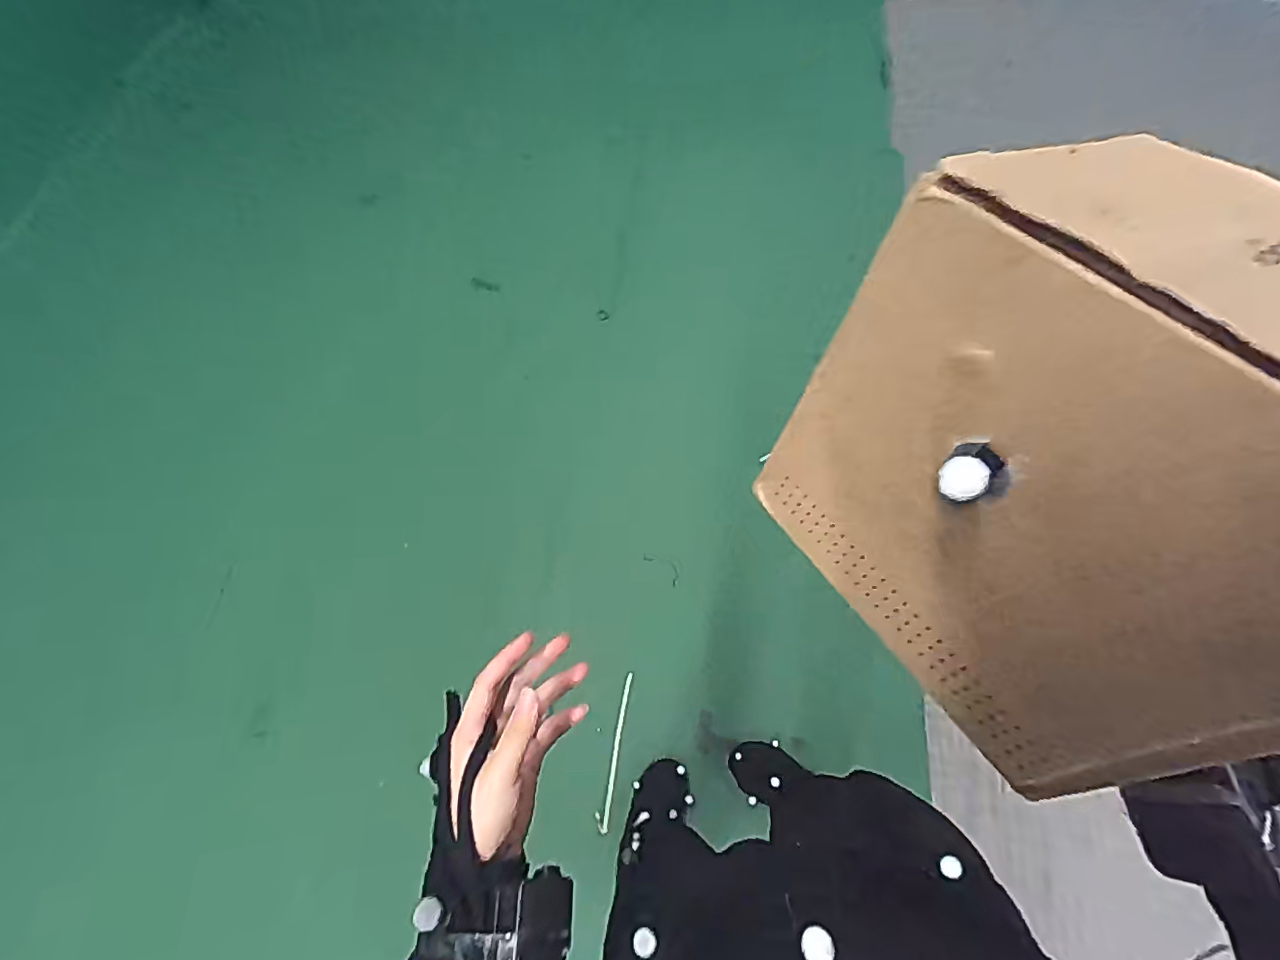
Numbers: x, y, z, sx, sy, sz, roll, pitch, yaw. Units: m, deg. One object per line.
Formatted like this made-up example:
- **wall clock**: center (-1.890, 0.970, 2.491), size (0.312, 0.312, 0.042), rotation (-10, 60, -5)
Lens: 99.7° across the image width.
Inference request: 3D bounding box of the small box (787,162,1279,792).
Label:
- **small box**: center (0.195, -0.005, 0.230), size (0.168, 0.176, 0.179), rotation (-23, 60, -26)
